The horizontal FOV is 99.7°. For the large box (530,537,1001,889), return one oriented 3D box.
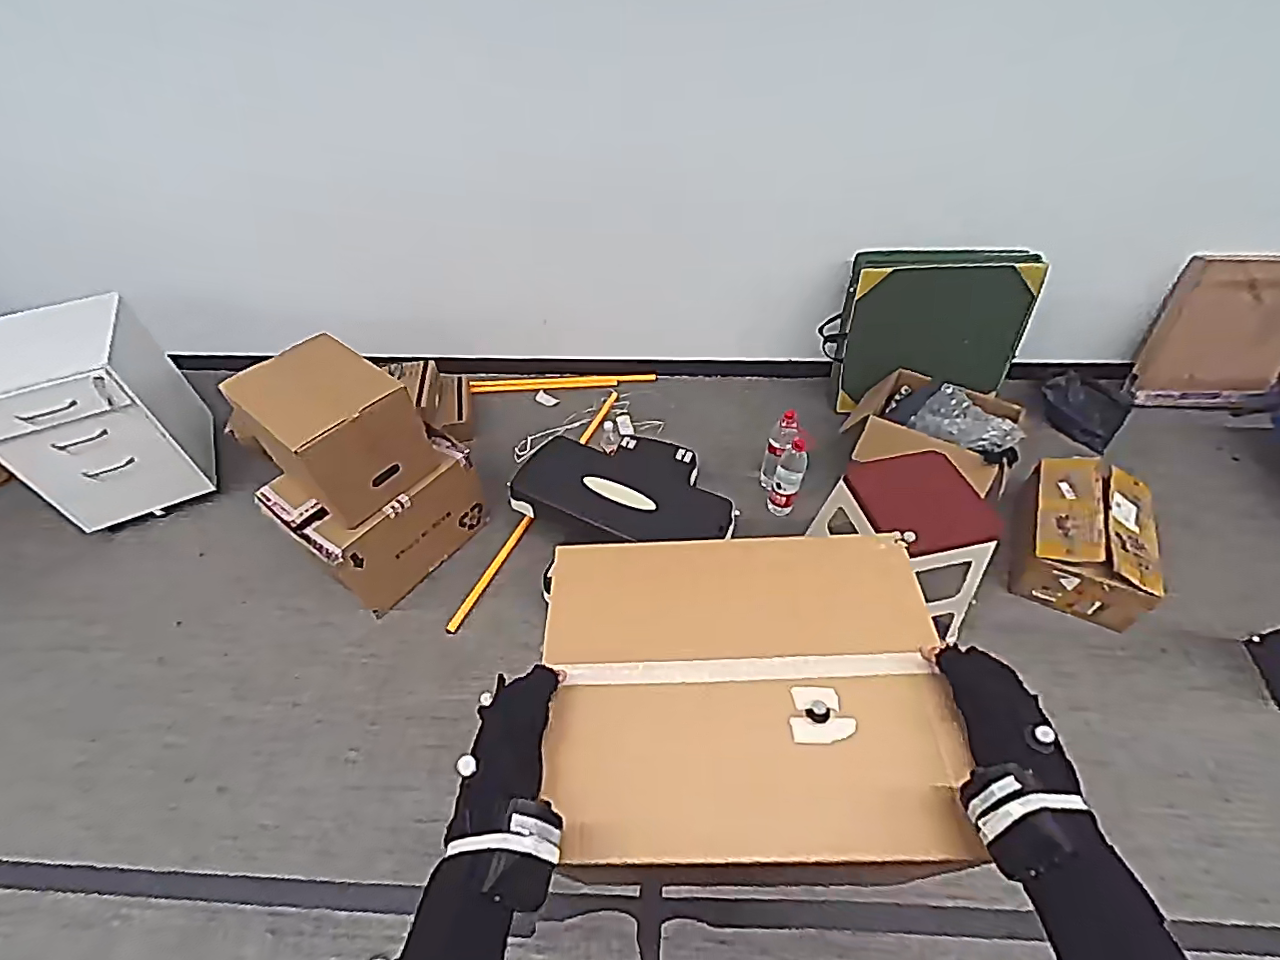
[{"bbox_3d":[0.108,0.290,0.659,0.408,0.320,0.320,-3,50,3],"label":"large box"}]
